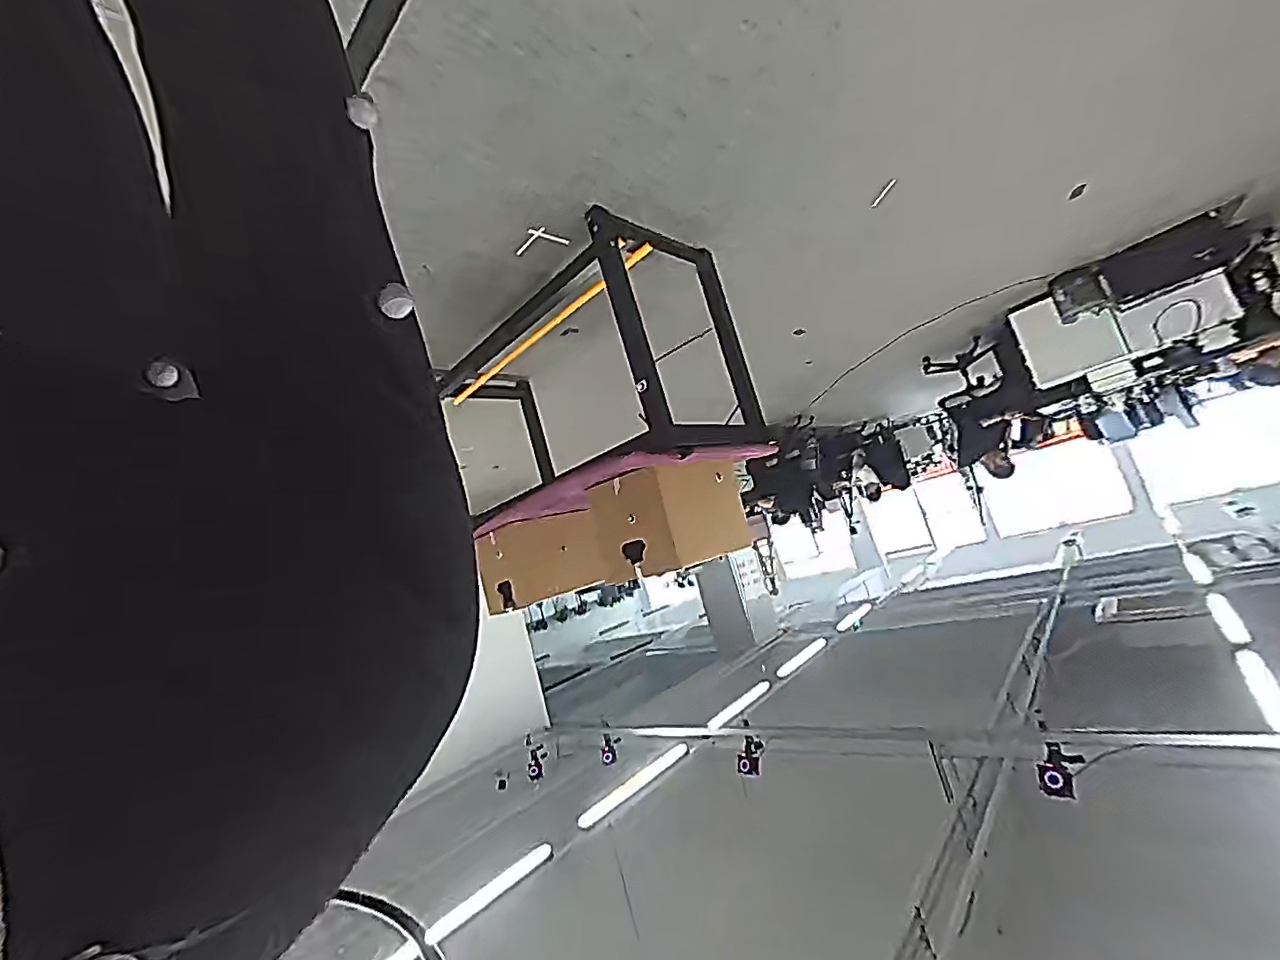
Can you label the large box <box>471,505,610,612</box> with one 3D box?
[{"bbox_3d":[-0.402,0.309,2.185,0.320,0.320,0.408,-22,172,40],"label":"large box"}]
